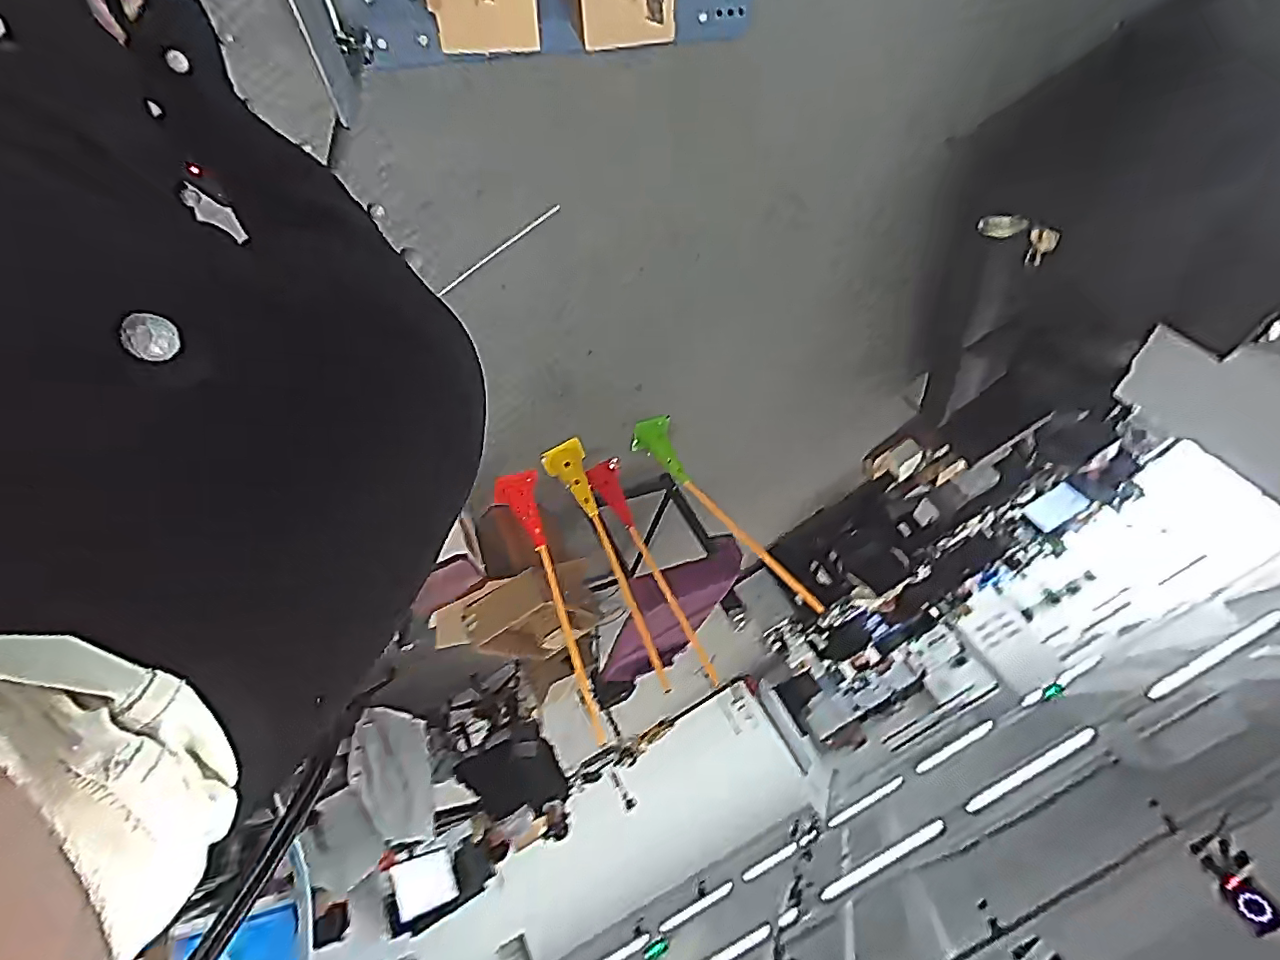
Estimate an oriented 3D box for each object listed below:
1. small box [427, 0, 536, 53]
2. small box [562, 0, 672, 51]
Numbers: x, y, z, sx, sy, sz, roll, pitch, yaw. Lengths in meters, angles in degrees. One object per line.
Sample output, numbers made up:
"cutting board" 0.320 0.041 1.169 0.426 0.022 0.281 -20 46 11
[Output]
"small box" -0.287 -0.873 0.937 0.179 0.176 0.168 -11 147 -11
"small box" -0.047 -0.920 0.985 0.179 0.176 0.168 -12 147 -8
